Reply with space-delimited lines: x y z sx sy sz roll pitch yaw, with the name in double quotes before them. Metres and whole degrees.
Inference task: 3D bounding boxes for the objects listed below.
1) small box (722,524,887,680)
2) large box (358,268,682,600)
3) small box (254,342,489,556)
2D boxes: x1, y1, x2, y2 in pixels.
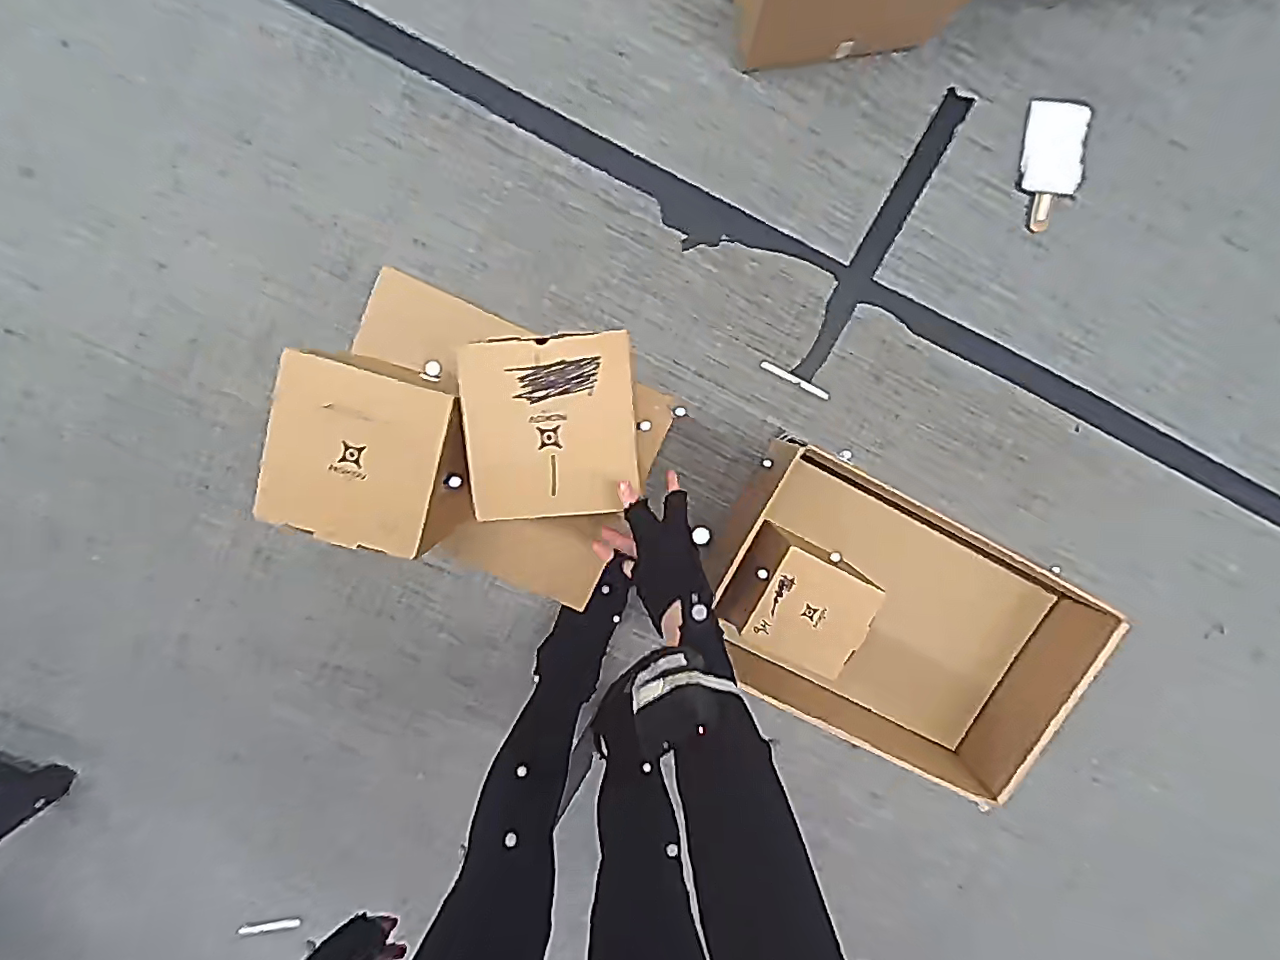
"small box" 0.261 0.191 0.901 0.179 0.176 0.168 27 97 -6
"large box" -0.190 -0.073 0.841 0.408 0.320 0.320 24 99 -4
"small box" -0.281 -0.039 0.602 0.168 0.176 0.179 15 98 -4
